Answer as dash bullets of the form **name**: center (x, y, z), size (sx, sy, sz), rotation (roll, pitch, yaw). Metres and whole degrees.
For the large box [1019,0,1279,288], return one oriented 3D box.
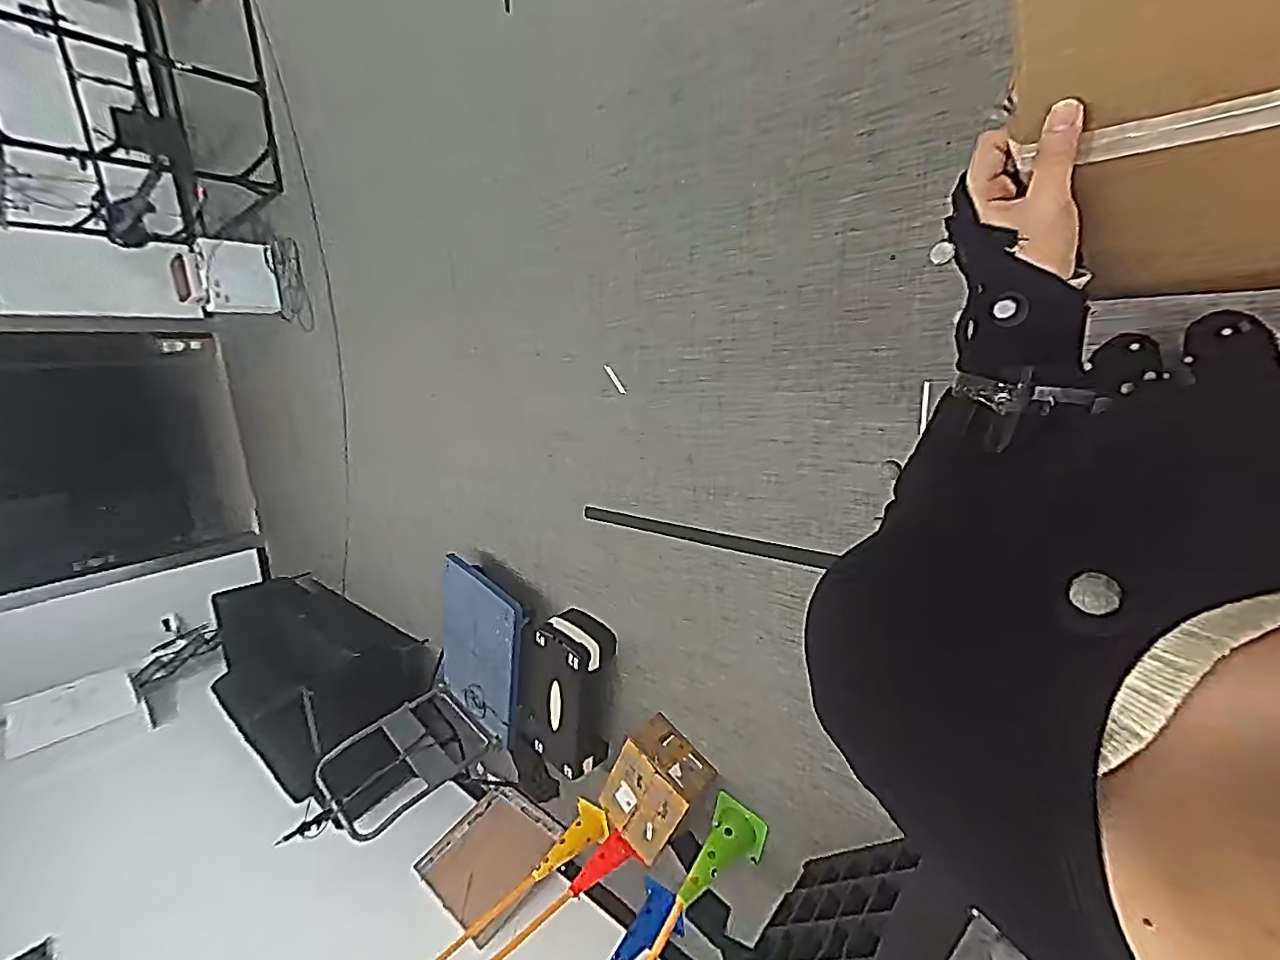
- **large box**: center (0.413, -0.316, 0.204), size (0.408, 0.320, 0.320), rotation (9, 76, 41)
